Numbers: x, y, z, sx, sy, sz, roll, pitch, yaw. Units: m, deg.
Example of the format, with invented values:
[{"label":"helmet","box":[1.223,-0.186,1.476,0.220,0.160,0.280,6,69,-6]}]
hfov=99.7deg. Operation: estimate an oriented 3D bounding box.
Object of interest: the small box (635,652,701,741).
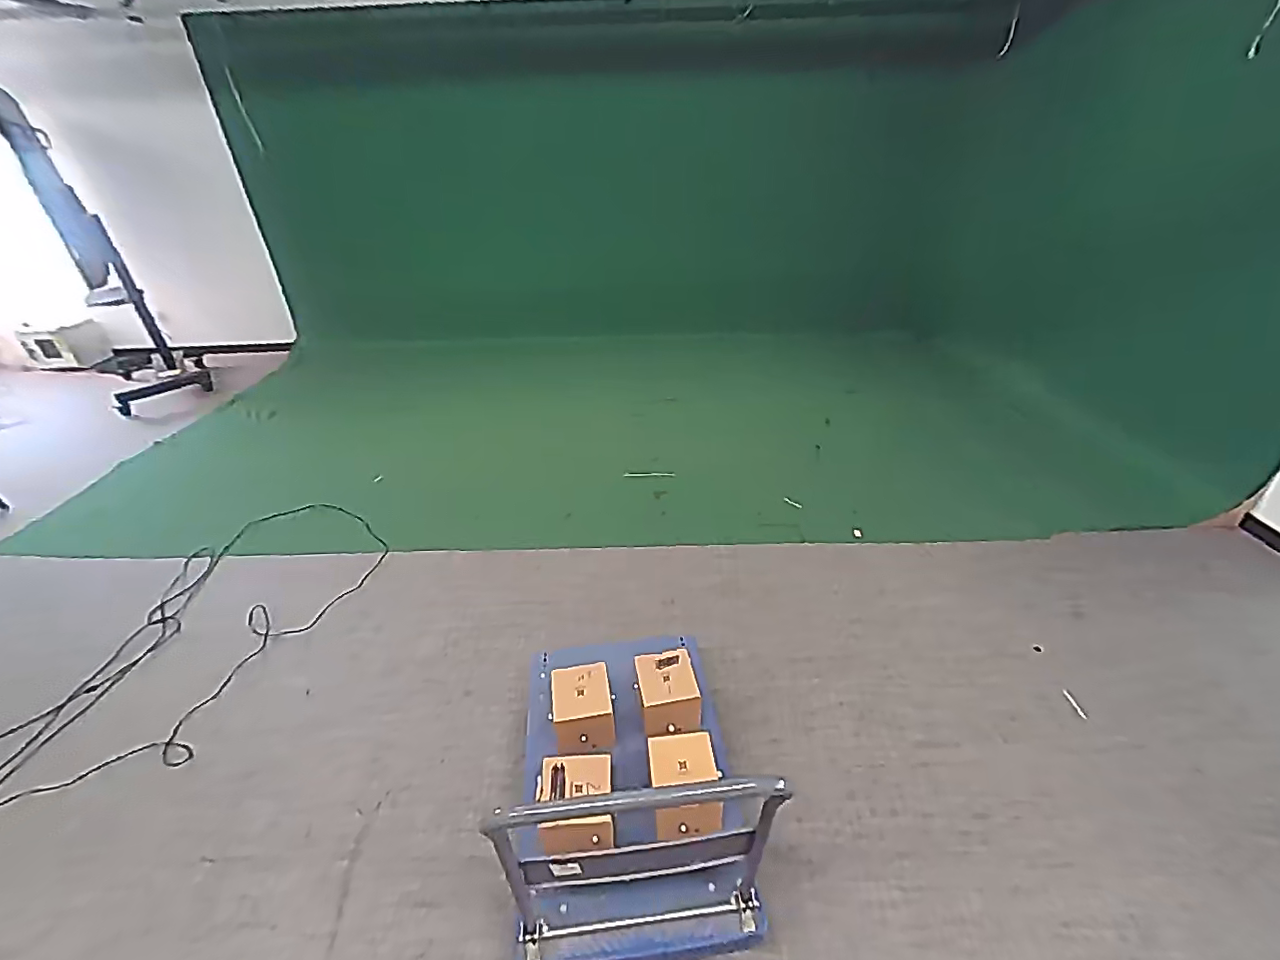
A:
[{"label":"small box","box":[0.079,0.649,1.623,0.168,0.176,0.179,-7,35,-7]}]

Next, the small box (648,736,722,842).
[{"label":"small box","box":[0.110,0.797,1.398,0.168,0.176,0.179,-4,34,-4]}]

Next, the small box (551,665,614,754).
[{"label":"small box","box":[-0.169,0.679,1.588,0.168,0.176,0.179,-6,33,-8]}]
